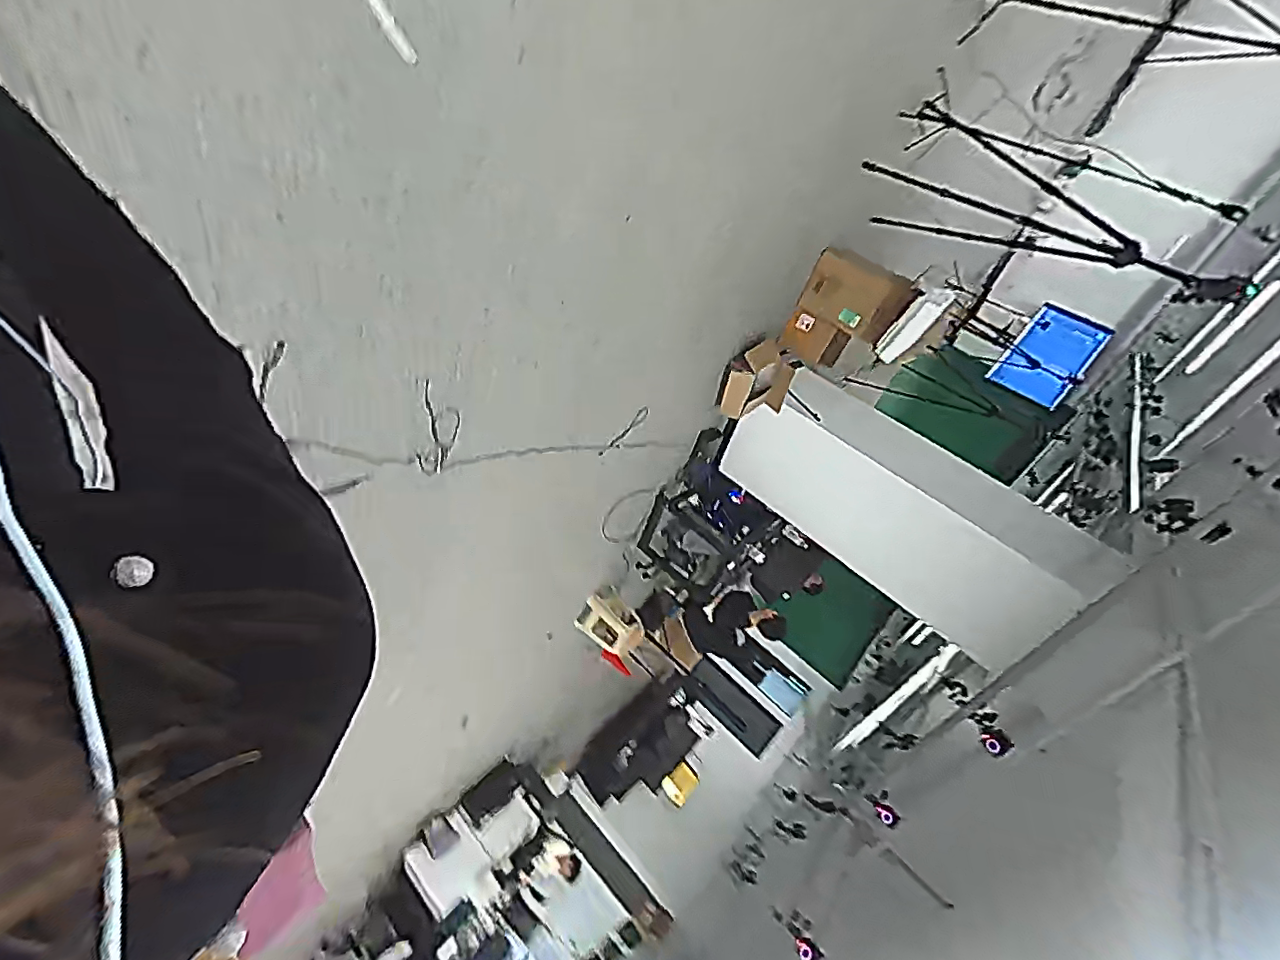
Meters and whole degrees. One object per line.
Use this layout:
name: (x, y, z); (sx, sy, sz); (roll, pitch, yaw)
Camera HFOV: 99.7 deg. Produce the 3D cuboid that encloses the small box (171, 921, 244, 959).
small box: (-1.164, 1.341, 1.437); (0.179, 0.176, 0.168); (-25, 145, -46)
